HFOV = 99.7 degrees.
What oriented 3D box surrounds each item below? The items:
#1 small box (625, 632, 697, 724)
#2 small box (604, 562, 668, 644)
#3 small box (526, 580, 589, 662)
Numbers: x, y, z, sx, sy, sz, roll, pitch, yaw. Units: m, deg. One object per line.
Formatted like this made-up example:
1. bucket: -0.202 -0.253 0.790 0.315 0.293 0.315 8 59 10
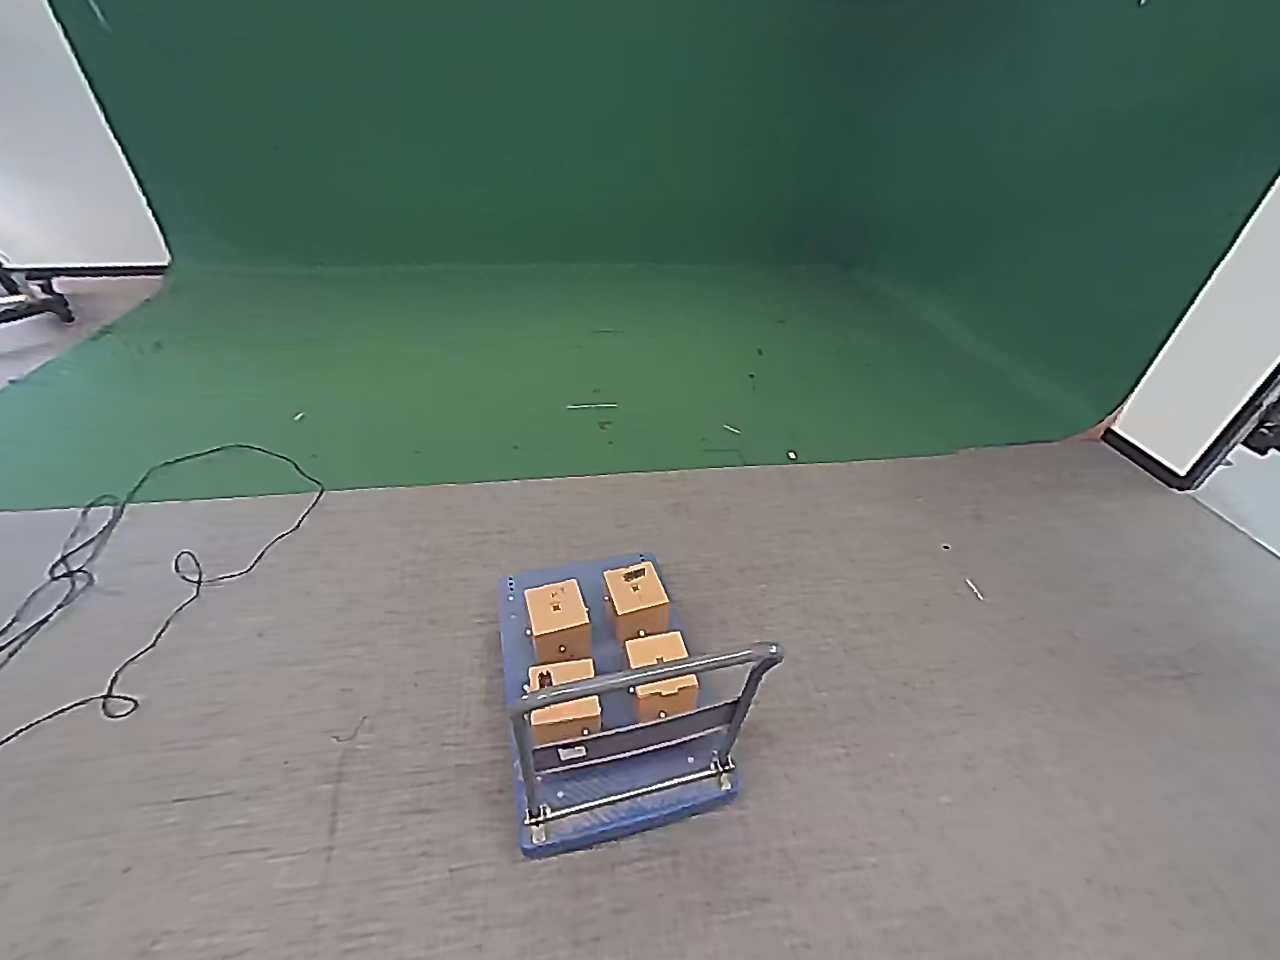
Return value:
1. small box: 0.052 0.569 1.556 0.168 0.176 0.179 -7 41 -12
2. small box: -0.018 0.400 1.756 0.168 0.176 0.179 -11 42 -15
3. small box: -0.256 0.445 1.687 0.168 0.176 0.179 -10 41 -16
